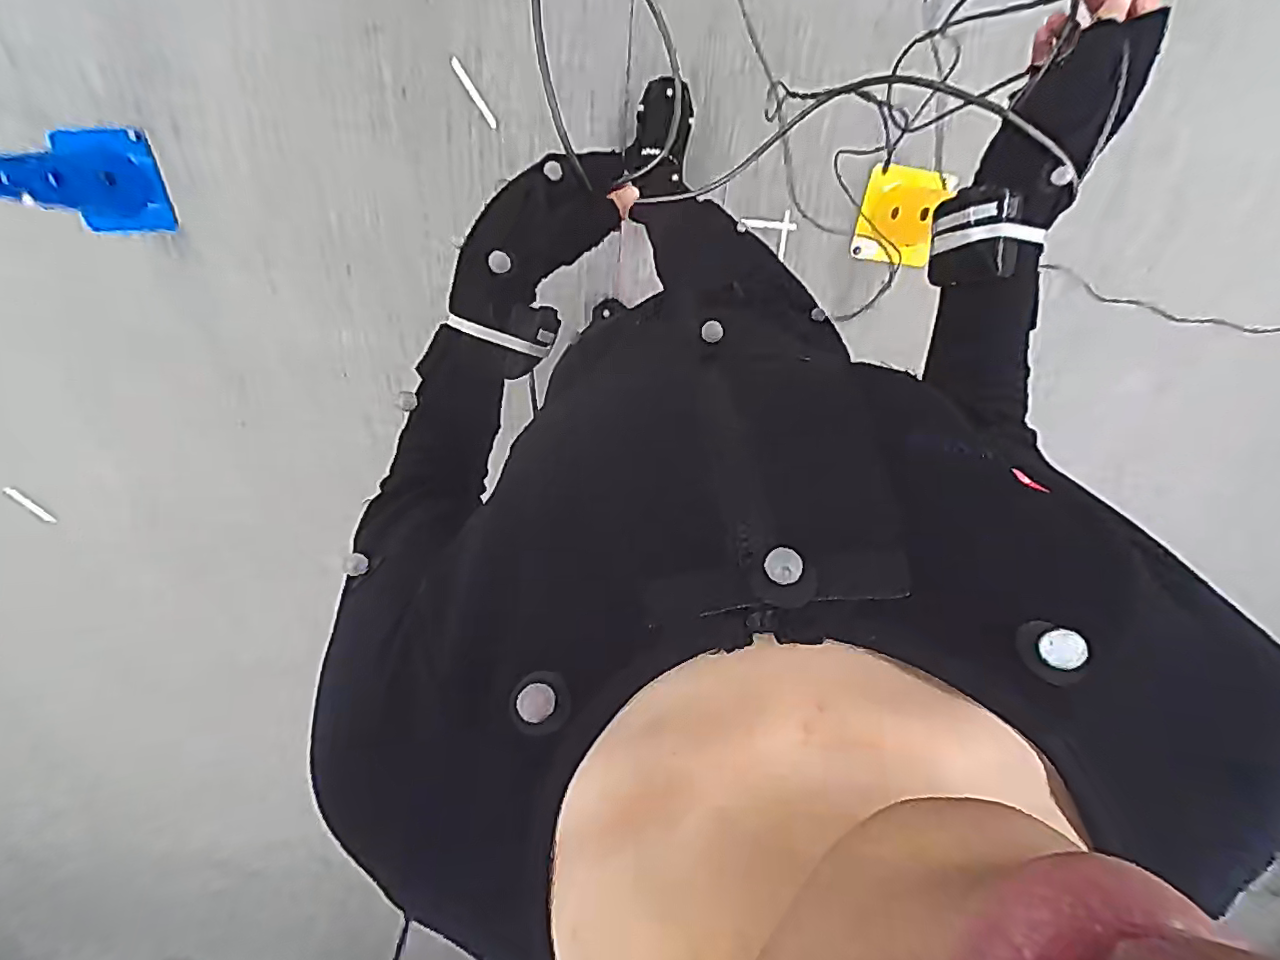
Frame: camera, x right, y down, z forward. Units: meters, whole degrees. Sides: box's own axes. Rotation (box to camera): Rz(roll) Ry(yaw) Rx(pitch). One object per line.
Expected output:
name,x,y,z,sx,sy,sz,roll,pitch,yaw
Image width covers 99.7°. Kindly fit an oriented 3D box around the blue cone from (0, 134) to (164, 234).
blue cone,-1.146,-0.566,1.026,0.193,0.380,0.192,-1,116,-1
